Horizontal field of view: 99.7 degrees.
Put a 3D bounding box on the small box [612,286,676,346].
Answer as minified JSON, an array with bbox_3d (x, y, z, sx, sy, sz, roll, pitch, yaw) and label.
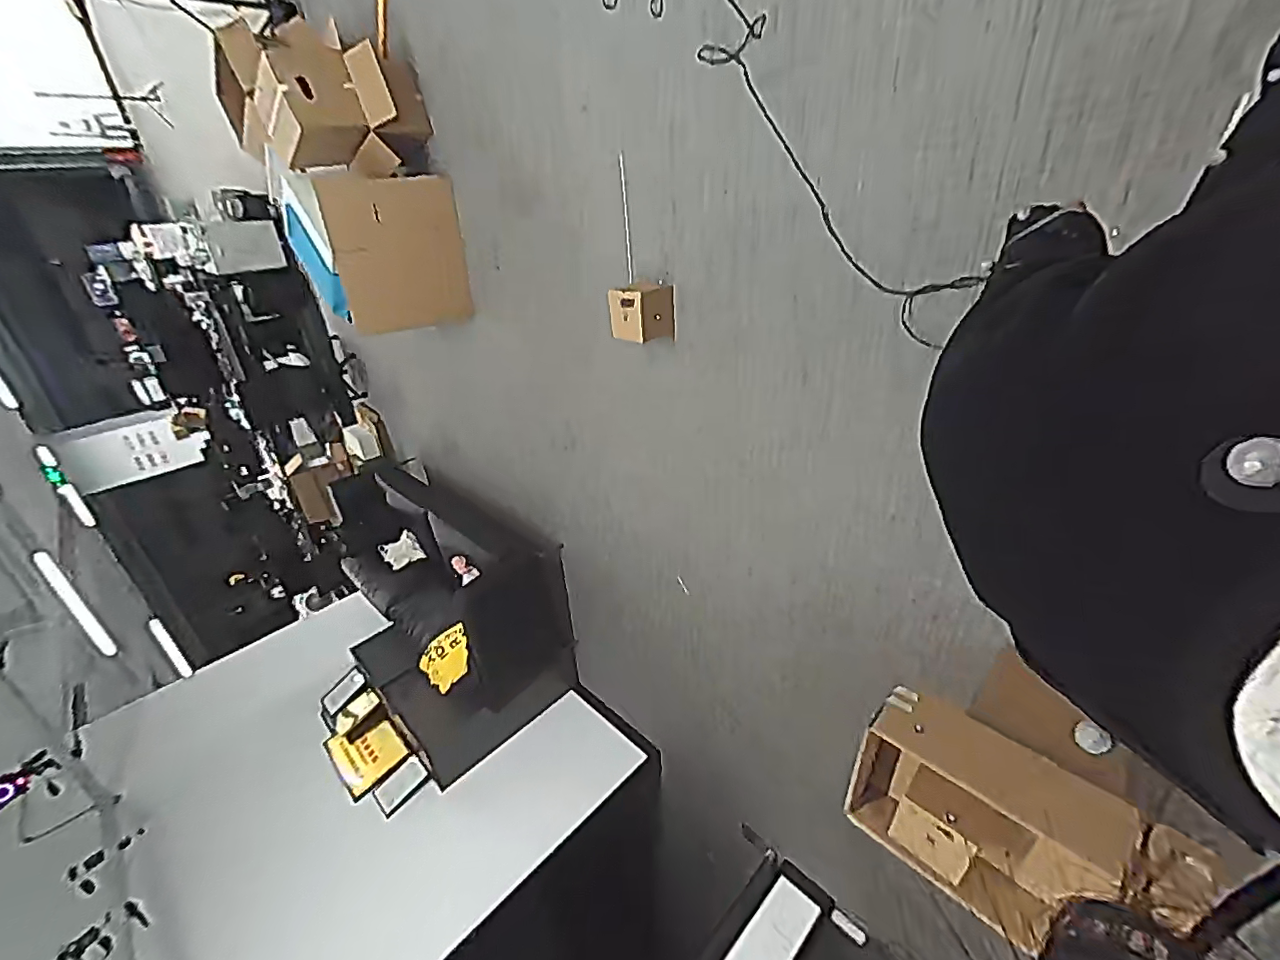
[{"bbox_3d":[0.018,-0.602,1.968,0.168,0.176,0.179,24,130,41],"label":"small box"}]

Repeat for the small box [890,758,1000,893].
[{"bbox_3d":[0.730,0.818,1.294,0.168,0.176,0.179,25,130,37],"label":"small box"}]
